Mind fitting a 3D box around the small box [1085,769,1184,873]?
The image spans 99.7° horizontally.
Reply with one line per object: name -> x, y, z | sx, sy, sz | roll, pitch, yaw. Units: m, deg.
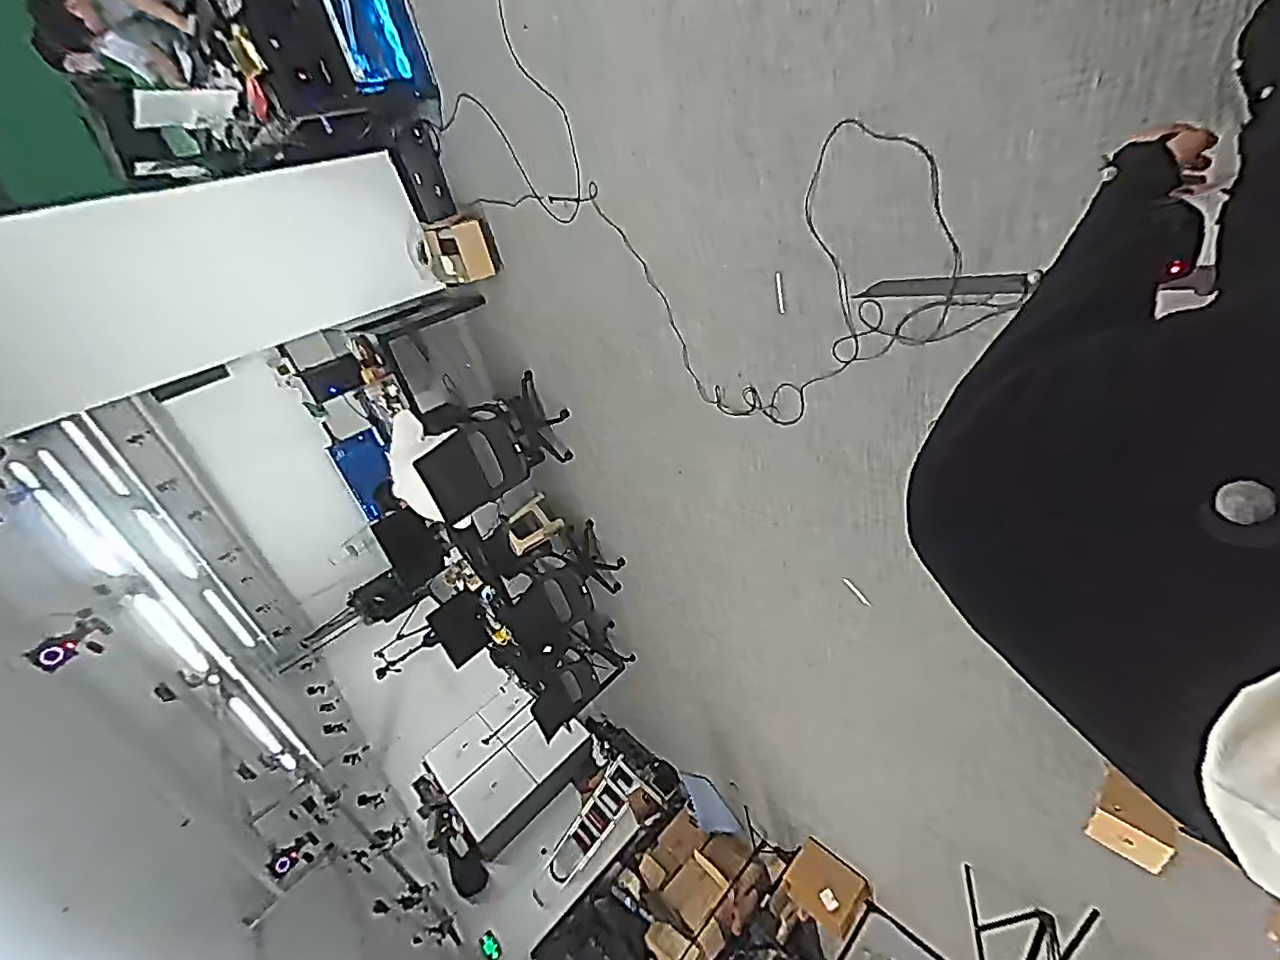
small box -> 1.501, 1.027, 1.642 | 0.179, 0.176, 0.168 | 23, 137, 43

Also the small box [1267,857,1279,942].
small box -> 1.750, 1.112, 1.376 | 0.179, 0.176, 0.168 | 11, 129, 49
